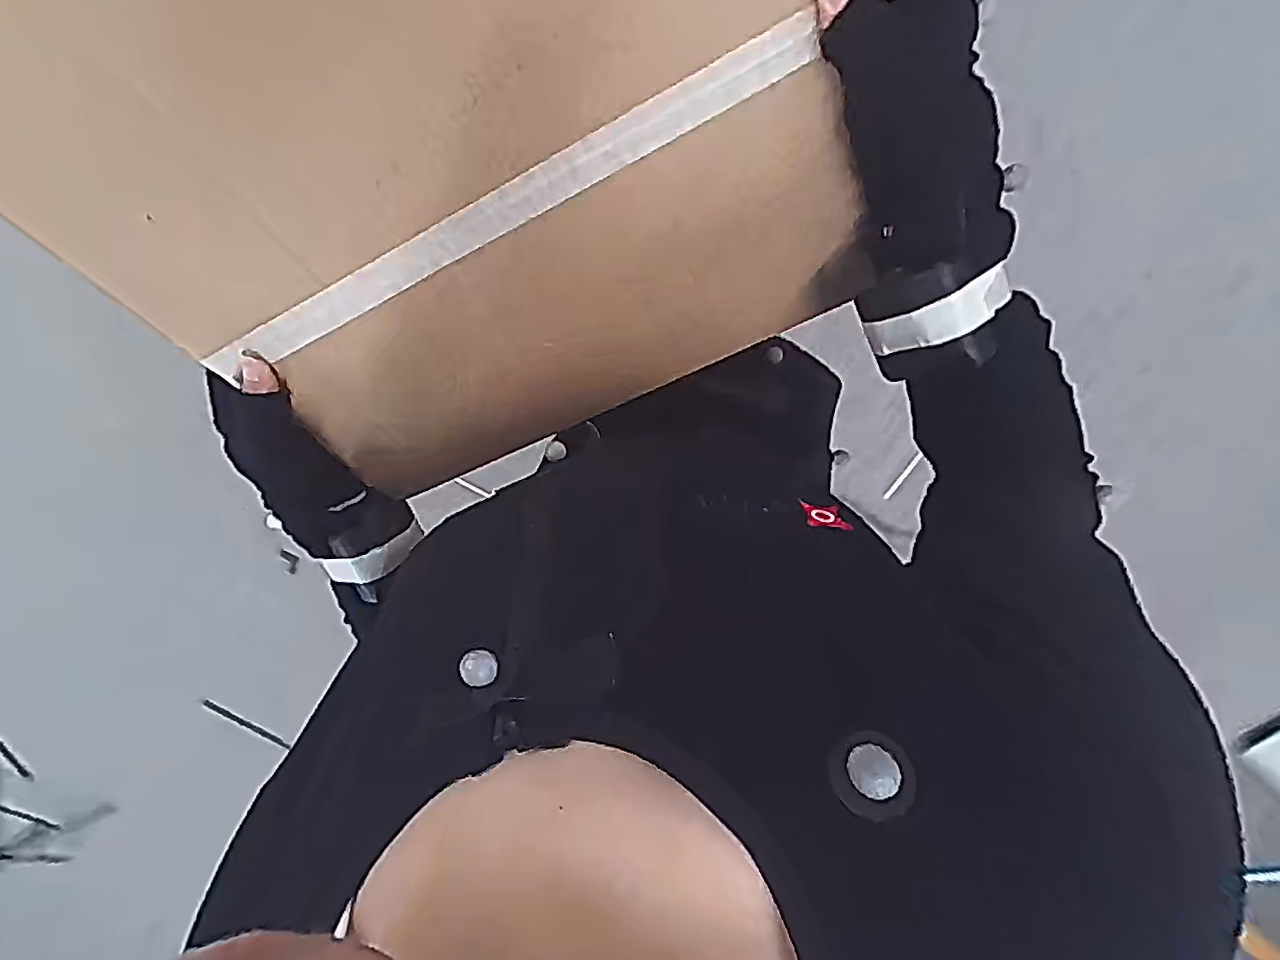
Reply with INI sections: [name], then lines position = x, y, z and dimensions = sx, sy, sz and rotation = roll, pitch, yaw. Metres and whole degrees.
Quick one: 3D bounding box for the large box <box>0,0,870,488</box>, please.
[large box]
position = -0.099, -0.260, 0.404
dimensions = 0.408, 0.320, 0.320
rotation = -21, 137, 13
